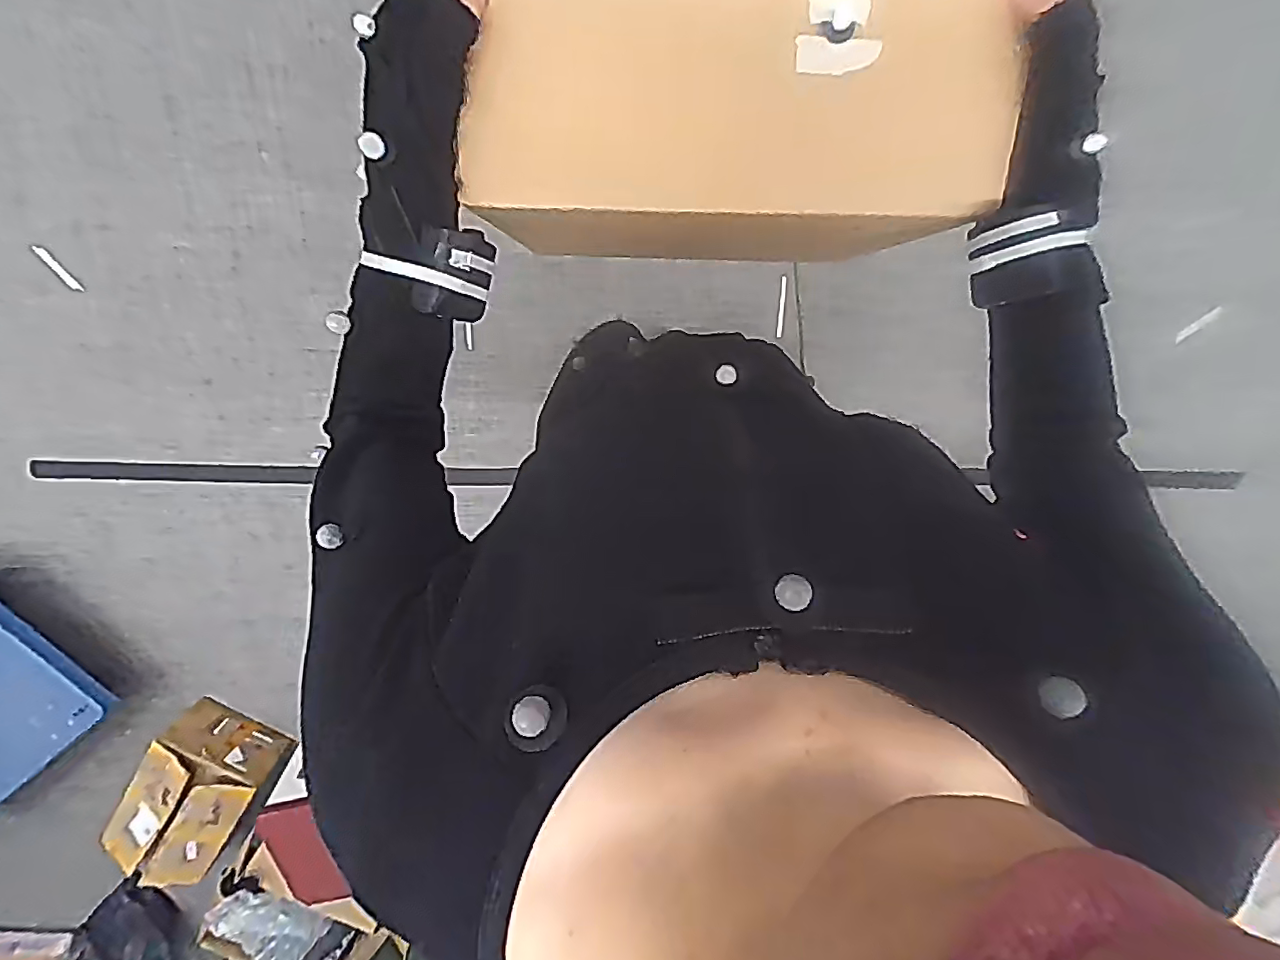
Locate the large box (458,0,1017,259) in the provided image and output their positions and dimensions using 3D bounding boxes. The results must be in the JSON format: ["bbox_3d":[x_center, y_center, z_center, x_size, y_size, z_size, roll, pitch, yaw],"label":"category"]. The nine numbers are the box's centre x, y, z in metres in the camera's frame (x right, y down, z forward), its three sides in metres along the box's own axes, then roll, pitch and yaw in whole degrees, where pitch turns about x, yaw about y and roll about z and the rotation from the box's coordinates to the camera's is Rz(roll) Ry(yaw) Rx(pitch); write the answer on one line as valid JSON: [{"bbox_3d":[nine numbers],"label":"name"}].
[{"bbox_3d":[0.065,-0.398,0.518,0.408,0.320,0.320,0,106,-1],"label":"large box"}]
